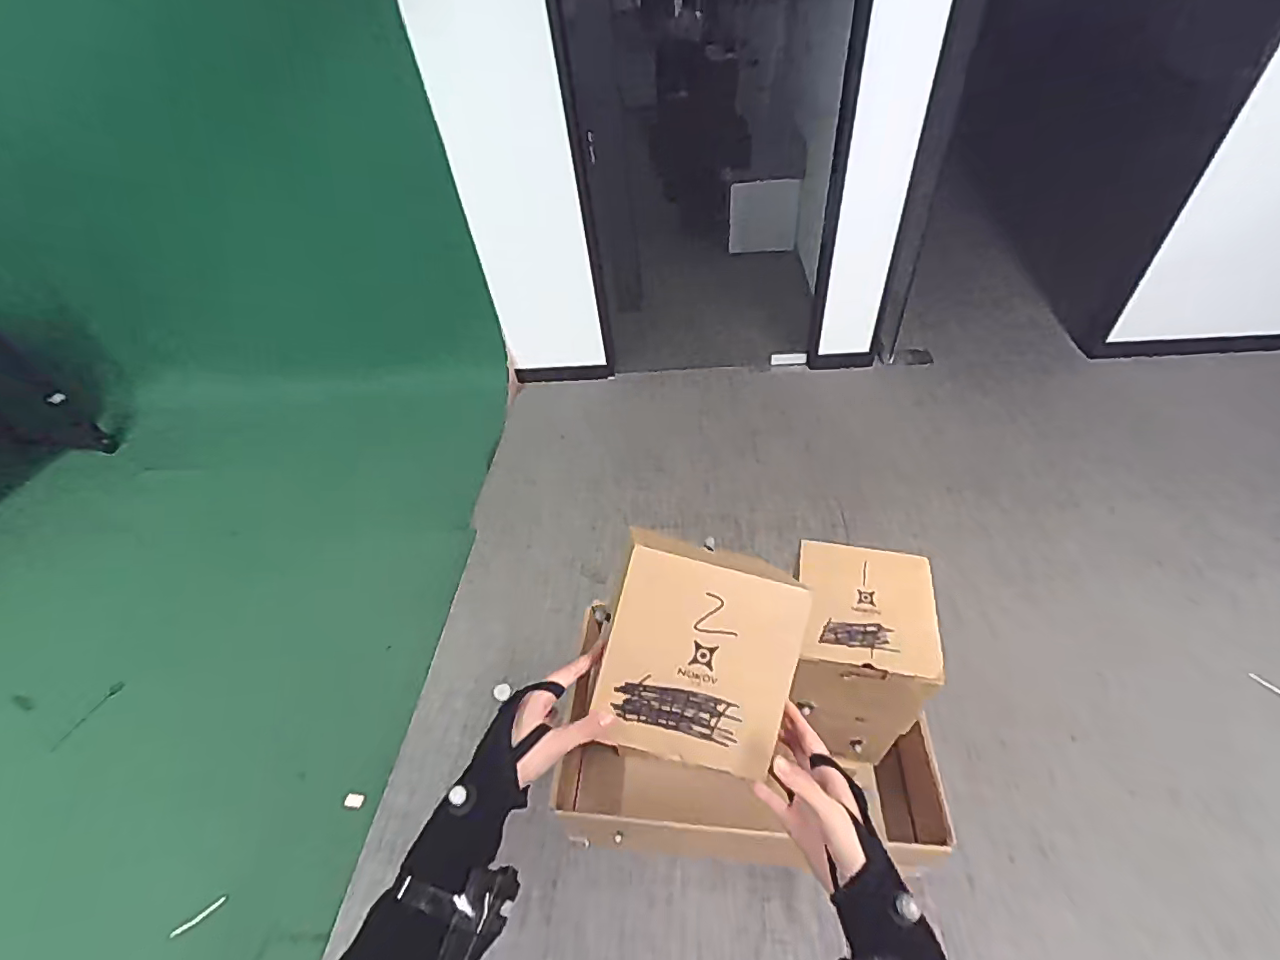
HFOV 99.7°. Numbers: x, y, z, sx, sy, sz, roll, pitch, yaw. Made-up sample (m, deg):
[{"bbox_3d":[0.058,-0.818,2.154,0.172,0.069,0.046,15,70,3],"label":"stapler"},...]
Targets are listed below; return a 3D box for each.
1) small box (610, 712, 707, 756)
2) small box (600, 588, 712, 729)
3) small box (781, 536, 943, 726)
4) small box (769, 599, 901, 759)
[{"bbox_3d":[0.040,0.399,1.019,0.168,0.176,0.179,-2,46,6],"label":"small box"},{"bbox_3d":[0.033,0.297,0.890,0.168,0.176,0.179,-1,47,5],"label":"small box"},{"bbox_3d":[0.285,0.203,0.725,0.168,0.176,0.179,8,47,13],"label":"small box"},{"bbox_3d":[0.295,0.313,0.846,0.168,0.176,0.179,5,47,11],"label":"small box"}]
